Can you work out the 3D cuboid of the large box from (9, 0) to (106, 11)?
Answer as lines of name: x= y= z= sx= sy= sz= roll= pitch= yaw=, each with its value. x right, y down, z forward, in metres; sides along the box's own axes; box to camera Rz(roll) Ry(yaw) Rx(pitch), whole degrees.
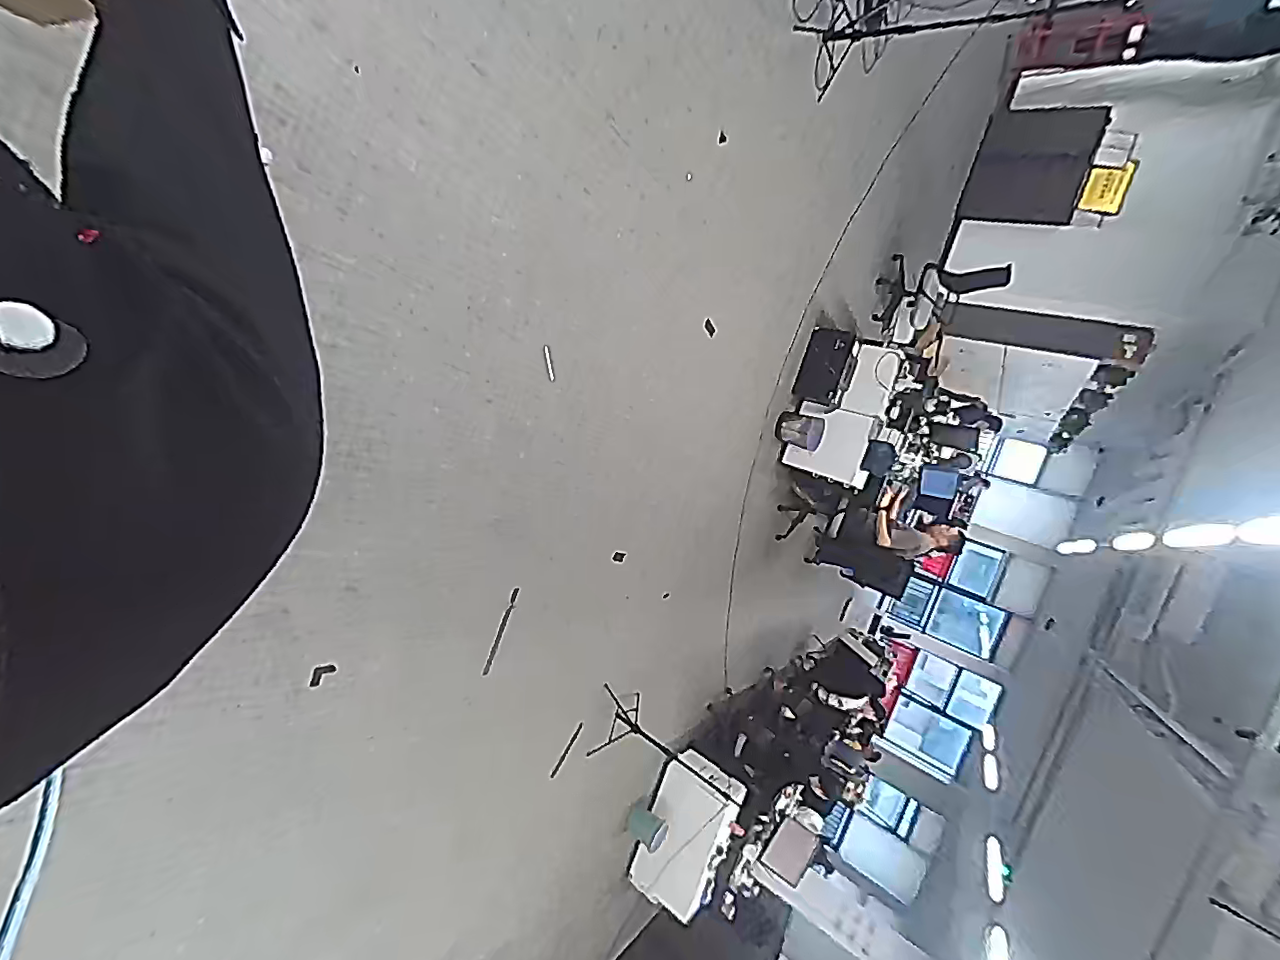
large box: x=-0.589 y=-0.577 z=0.309 sx=0.408 sy=0.320 sz=0.320 roll=-2 pitch=116 yaw=-58
